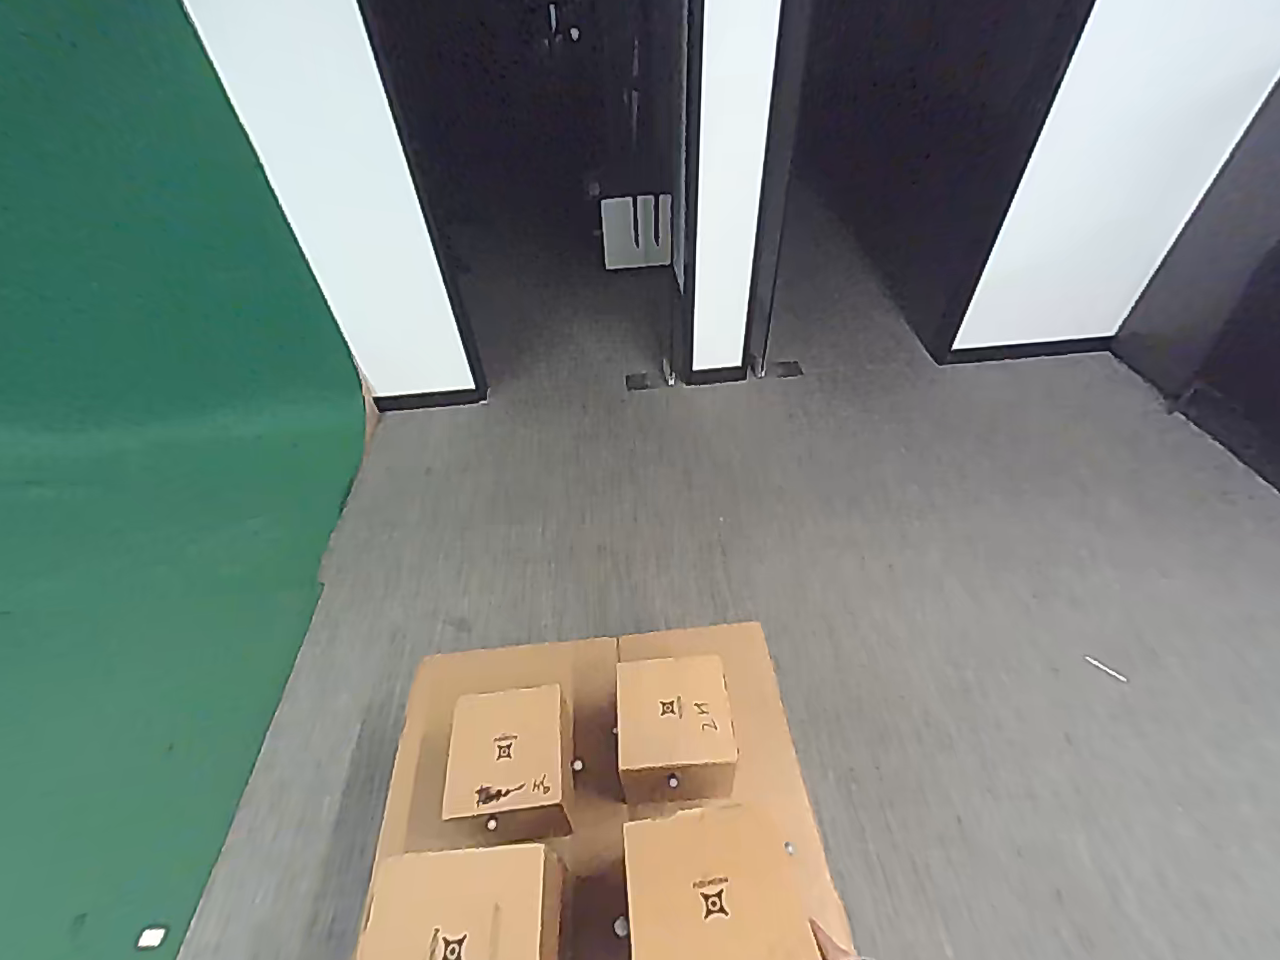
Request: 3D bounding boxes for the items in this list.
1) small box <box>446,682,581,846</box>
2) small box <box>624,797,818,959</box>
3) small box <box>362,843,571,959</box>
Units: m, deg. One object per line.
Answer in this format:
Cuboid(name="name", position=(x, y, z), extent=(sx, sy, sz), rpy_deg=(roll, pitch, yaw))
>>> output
Cuboid(name="small box", position=(-0.188, 0.449, 0.856), extent=(0.168, 0.176, 0.179), rpy_deg=(-8, 44, -1))
Cuboid(name="small box", position=(0.081, 0.469, 0.550), extent=(0.168, 0.176, 0.179), rpy_deg=(-9, 25, -1))
Cuboid(name="small box", position=(-0.174, 0.503, 0.572), extent=(0.179, 0.176, 0.168), rpy_deg=(-4, 46, -1))
